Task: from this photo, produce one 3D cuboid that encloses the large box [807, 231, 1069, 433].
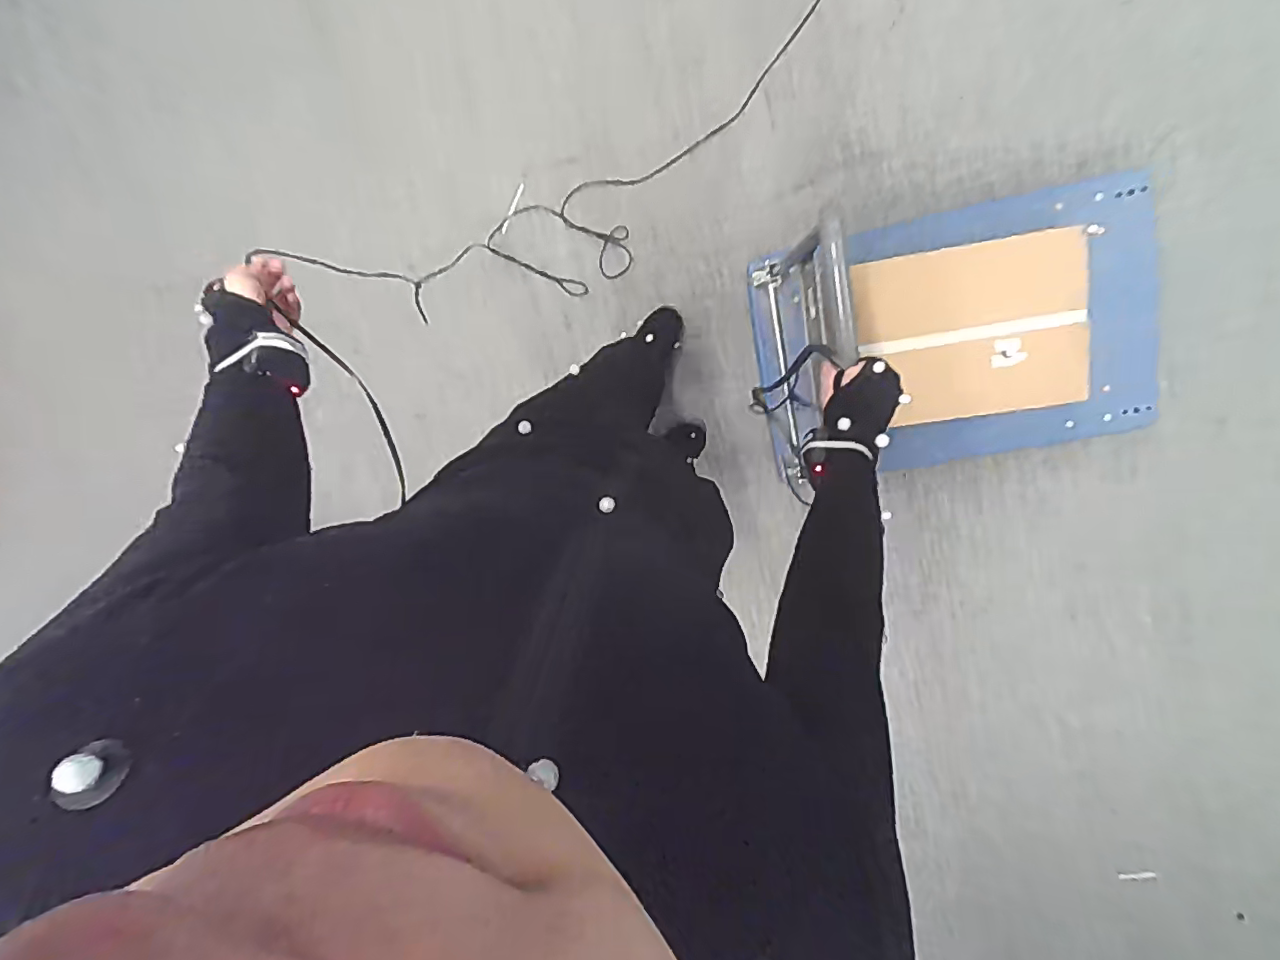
[{"bbox_3d":[0.604,-0.298,1.160,0.408,0.320,0.320,-7,102,8],"label":"large box"}]
